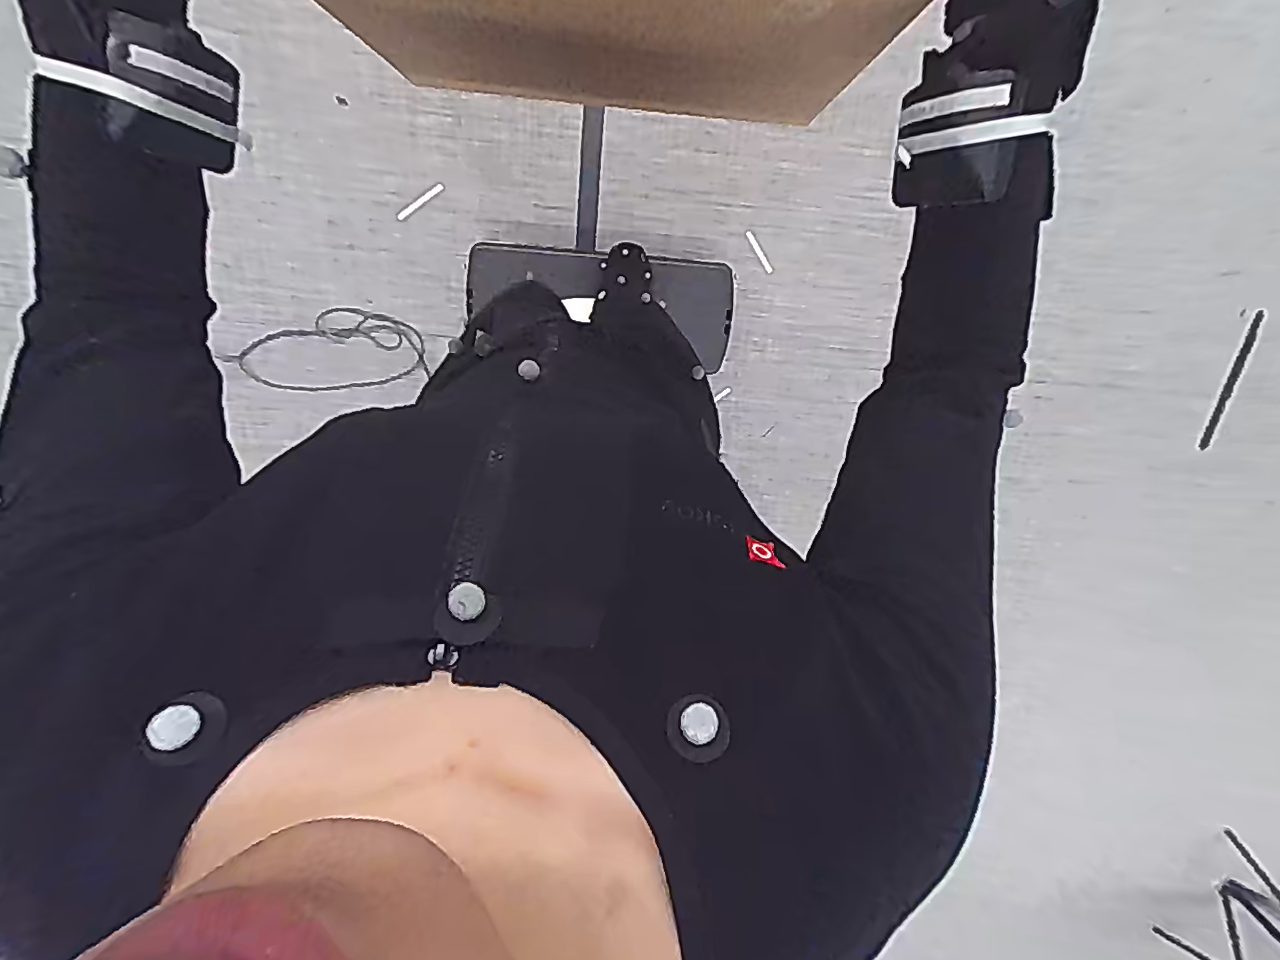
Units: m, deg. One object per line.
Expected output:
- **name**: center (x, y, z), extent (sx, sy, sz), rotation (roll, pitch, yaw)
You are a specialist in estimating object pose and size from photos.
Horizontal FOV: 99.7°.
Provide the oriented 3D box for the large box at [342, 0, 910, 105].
- **large box**: center (-0.013, -0.477, 0.349), extent (0.408, 0.320, 0.320), rotation (4, 111, -2)
